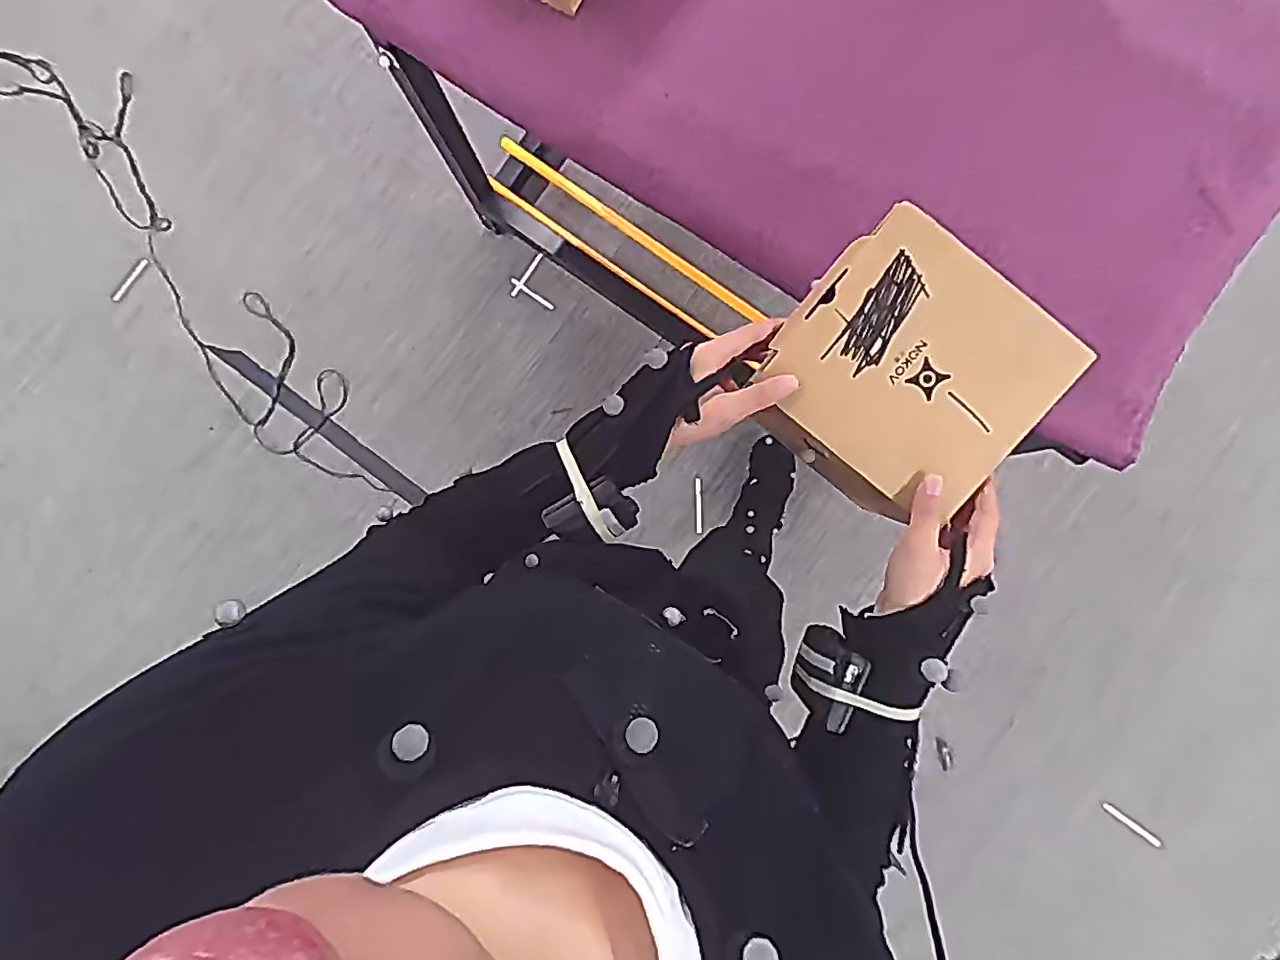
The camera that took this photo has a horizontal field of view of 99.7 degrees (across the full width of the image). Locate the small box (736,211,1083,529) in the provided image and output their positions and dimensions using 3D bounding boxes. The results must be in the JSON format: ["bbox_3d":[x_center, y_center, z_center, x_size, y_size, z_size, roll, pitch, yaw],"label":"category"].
[{"bbox_3d":[0.202,-0.081,0.469,0.179,0.176,0.168,40,96,1],"label":"small box"}]

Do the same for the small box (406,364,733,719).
[{"bbox_3d":[-0.057,0.036,0.412,0.179,0.176,0.168,29,126,12],"label":"small box"}]
